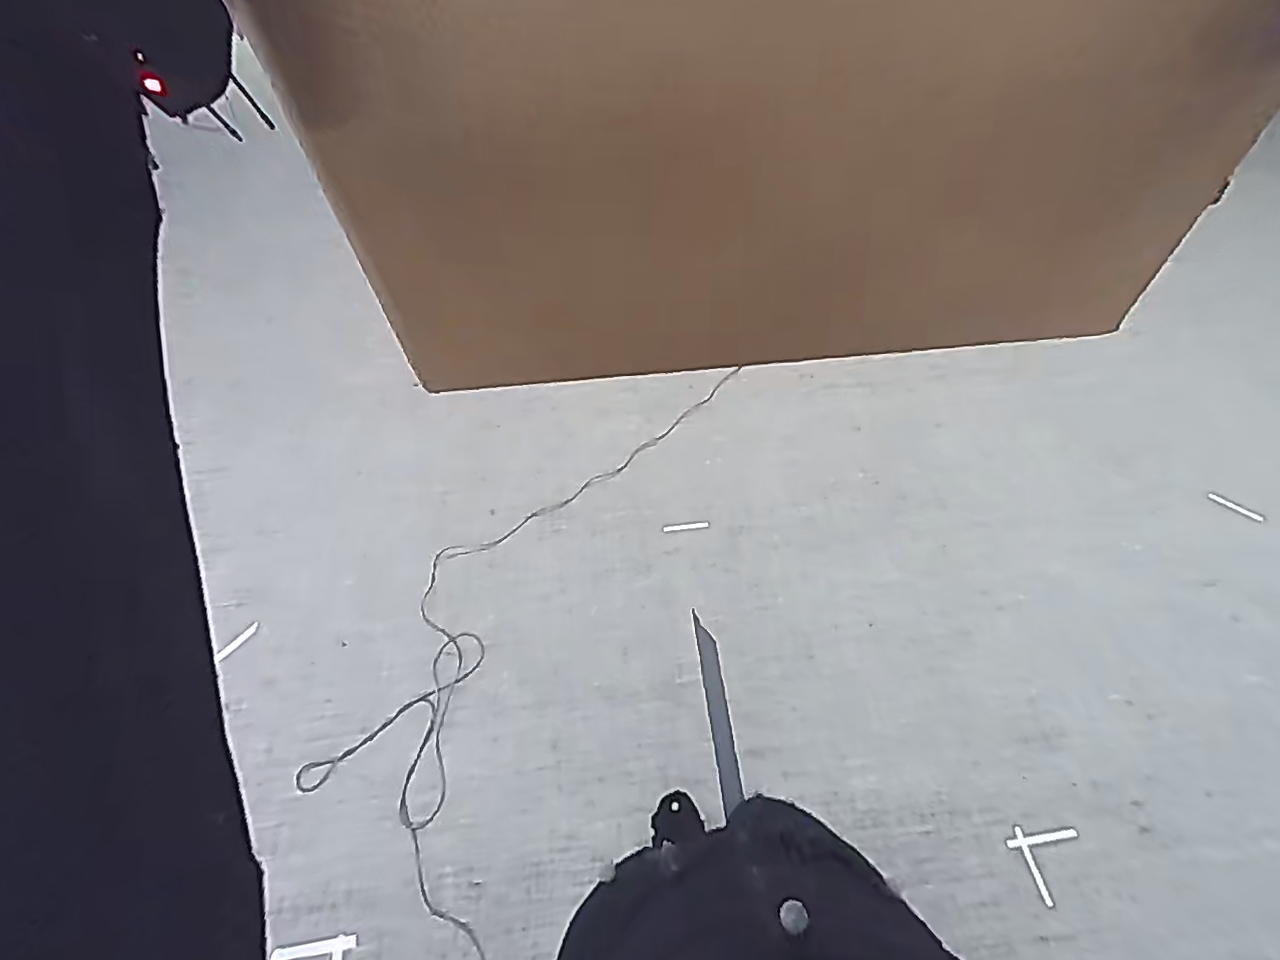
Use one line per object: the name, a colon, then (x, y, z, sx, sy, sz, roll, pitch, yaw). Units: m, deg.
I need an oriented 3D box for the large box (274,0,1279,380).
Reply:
large box: (0.052, -0.286, 0.309, 0.408, 0.320, 0.320, -5, 51, -1)
